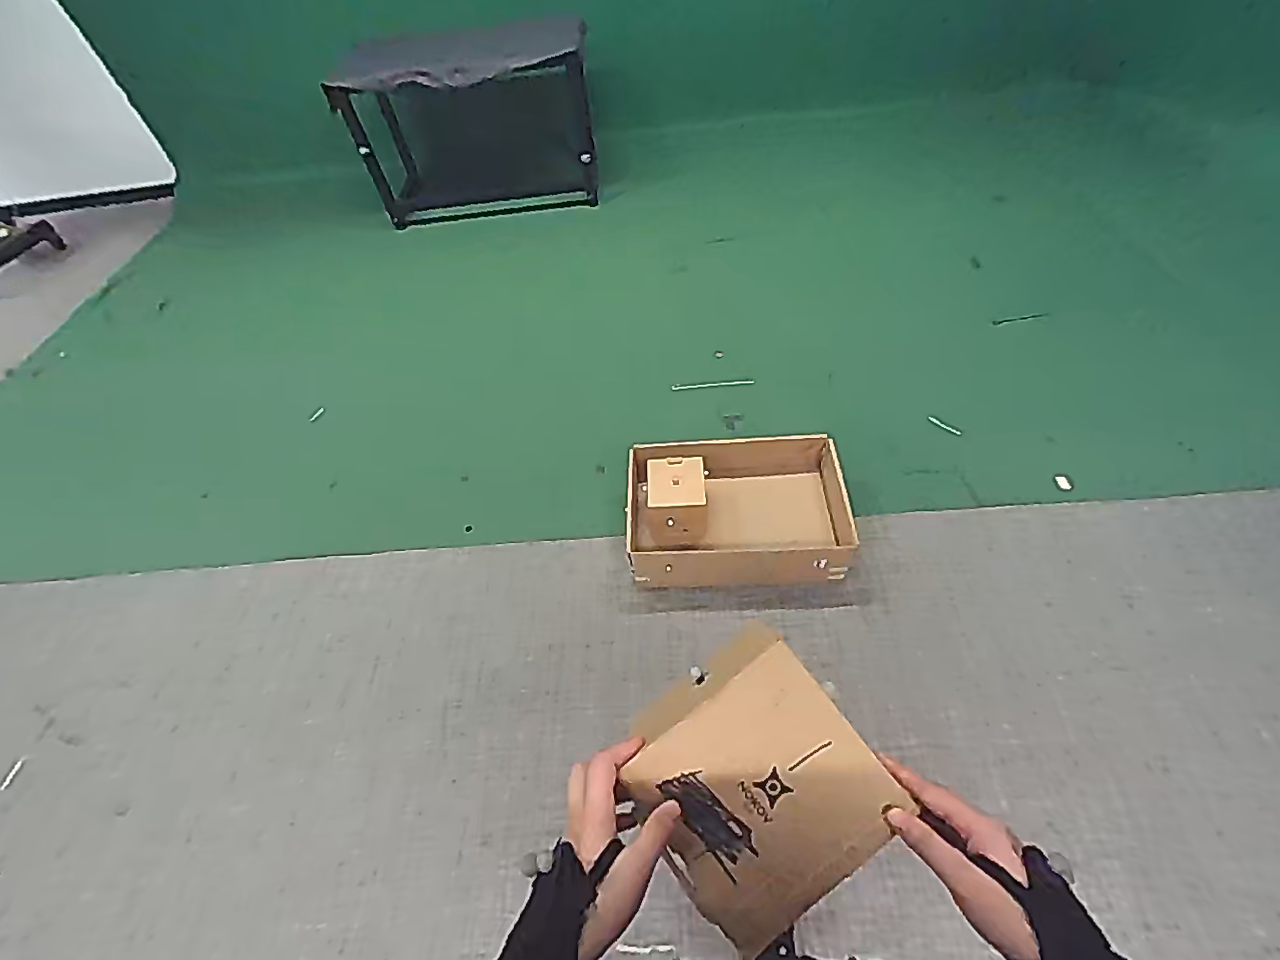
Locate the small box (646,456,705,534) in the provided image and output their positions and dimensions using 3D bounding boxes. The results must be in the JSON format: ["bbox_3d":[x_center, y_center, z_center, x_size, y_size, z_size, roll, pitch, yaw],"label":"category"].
[{"bbox_3d":[0.108,0.052,1.617,0.168,0.176,0.179,-3,53,4],"label":"small box"}]

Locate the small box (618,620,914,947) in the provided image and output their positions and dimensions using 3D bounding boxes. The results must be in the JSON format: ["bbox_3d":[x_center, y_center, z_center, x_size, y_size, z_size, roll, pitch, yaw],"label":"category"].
[{"bbox_3d":[0.103,0.253,0.504,0.179,0.176,0.168,-38,82,-2],"label":"small box"}]
